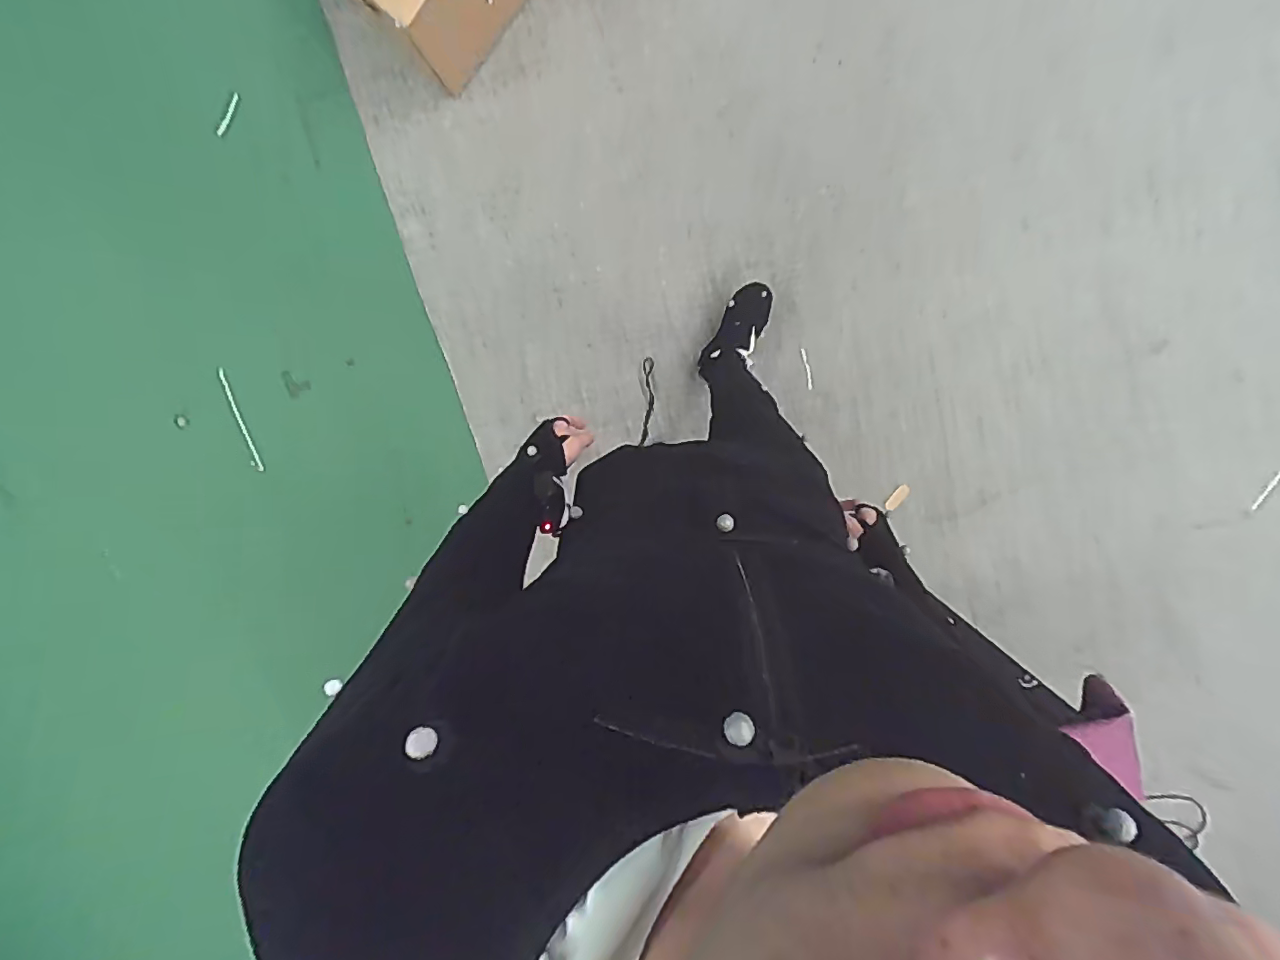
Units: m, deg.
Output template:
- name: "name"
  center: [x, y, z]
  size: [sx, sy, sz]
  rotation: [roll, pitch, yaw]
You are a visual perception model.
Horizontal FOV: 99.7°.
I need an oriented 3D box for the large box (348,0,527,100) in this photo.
- name: "large box"
  center: [-0.473, -1.210, 1.231]
  size: [0.320, 0.320, 0.408]
  rotation: [40, 100, -5]
